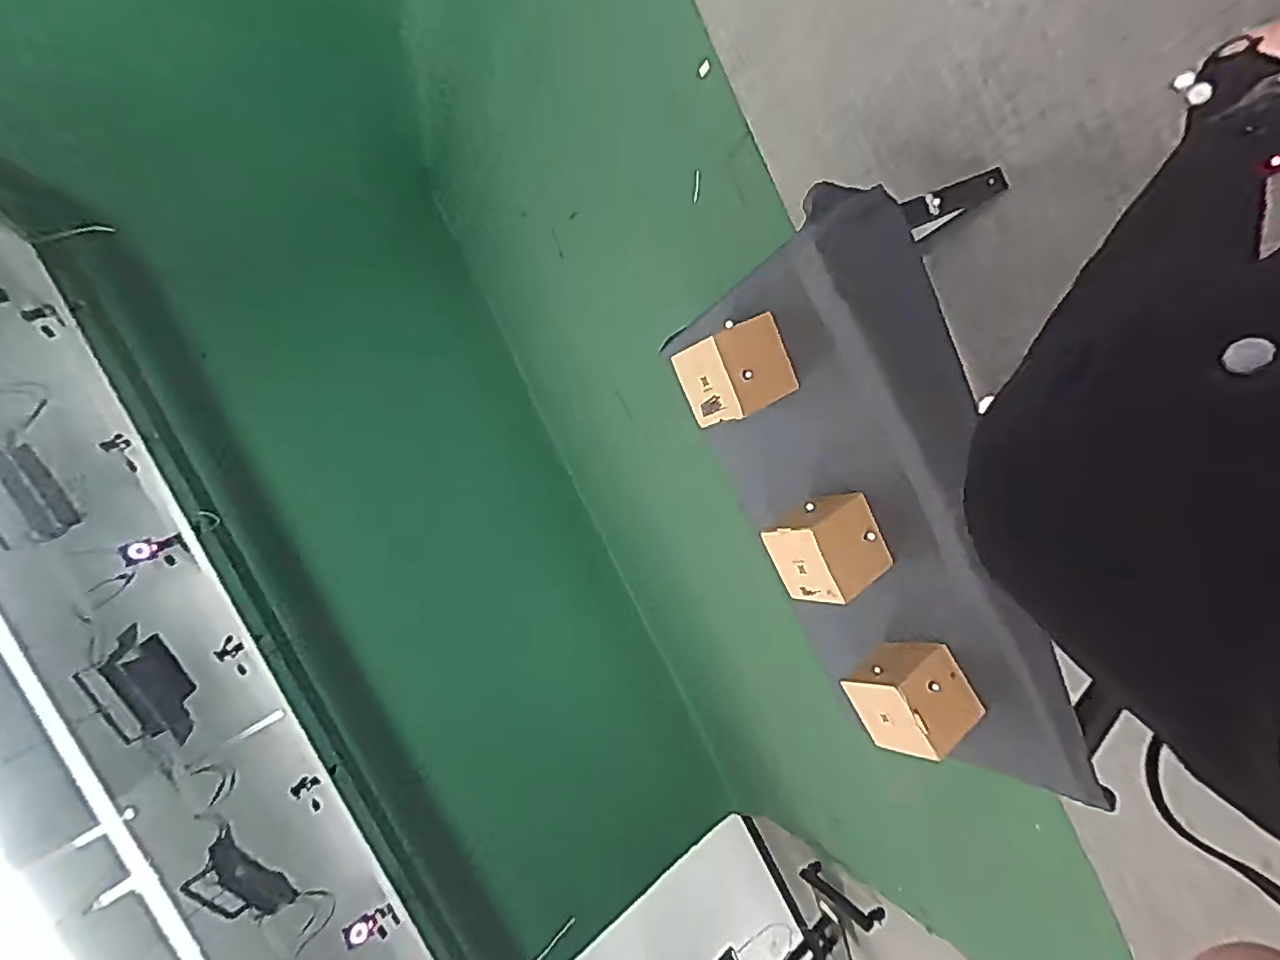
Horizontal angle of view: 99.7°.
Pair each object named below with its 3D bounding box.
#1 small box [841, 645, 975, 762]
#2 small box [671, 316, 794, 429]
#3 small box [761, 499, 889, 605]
[{"bbox_3d":[0.586,0.473,1.175,0.168,0.176,0.179,61,157,5],"label":"small box"},{"bbox_3d":[0.204,-0.231,1.179,0.168,0.176,0.179,-7,109,63],"label":"small box"},{"bbox_3d":[0.406,0.150,1.187,0.179,0.176,0.168,65,155,-4],"label":"small box"}]
